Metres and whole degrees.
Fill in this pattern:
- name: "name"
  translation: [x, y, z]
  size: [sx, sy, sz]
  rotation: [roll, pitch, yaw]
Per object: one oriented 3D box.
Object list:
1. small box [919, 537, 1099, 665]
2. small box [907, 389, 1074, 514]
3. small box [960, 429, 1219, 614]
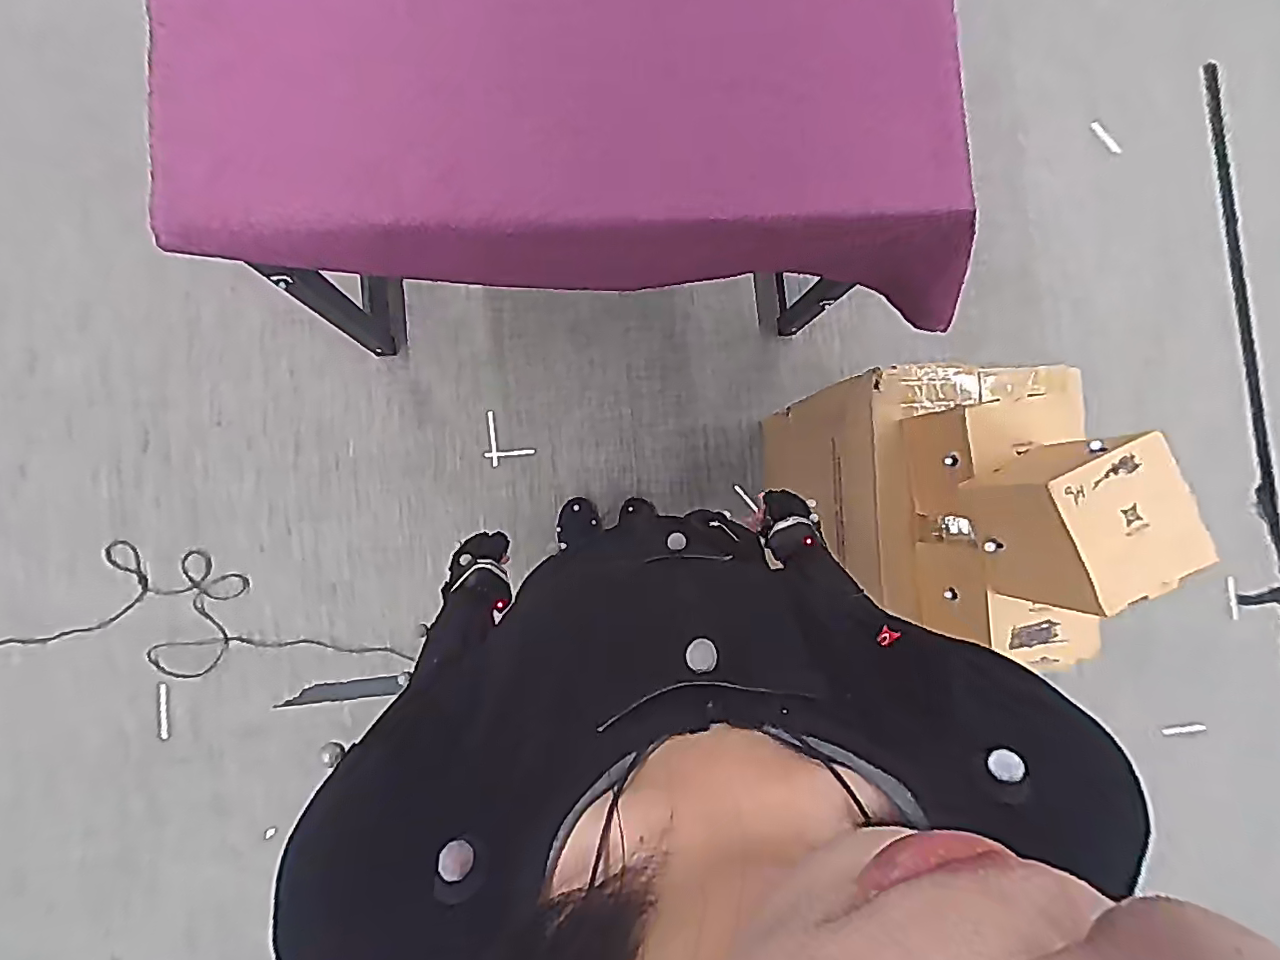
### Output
- name: "small box"
  translation: [0.581, 0.183, 0.872]
  size: [0.168, 0.176, 0.179]
  rotation: [-3, 85, -6]
- name: "small box"
  translation: [0.565, -0.039, 0.884]
  size: [0.168, 0.176, 0.179]
  rotation: [-8, 89, -5]
- name: "small box"
  translation: [0.574, 0.050, 0.715]
  size: [0.168, 0.176, 0.179]
  rotation: [-24, 90, -6]
